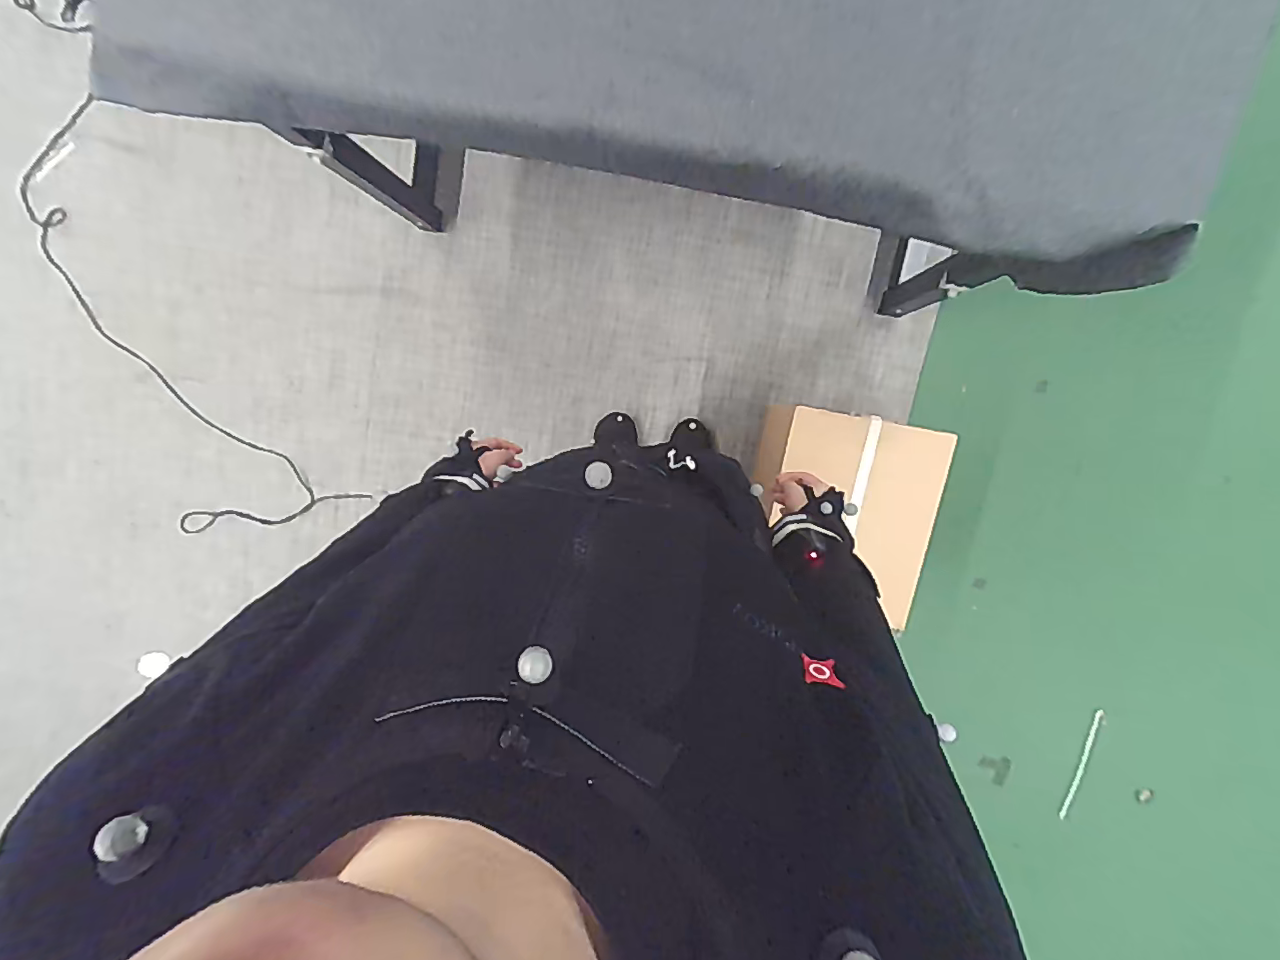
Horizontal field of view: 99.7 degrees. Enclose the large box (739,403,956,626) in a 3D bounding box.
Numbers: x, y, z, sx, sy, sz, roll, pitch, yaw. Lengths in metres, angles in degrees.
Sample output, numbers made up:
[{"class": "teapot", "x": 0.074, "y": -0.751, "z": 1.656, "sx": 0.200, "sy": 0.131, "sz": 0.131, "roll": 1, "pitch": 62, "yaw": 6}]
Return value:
[{"class": "large box", "x": 0.424, "y": 0.050, "z": 1.198, "sx": 0.320, "sy": 0.320, "sz": 0.408, "roll": 11, "pitch": 99, "yaw": 3}]
